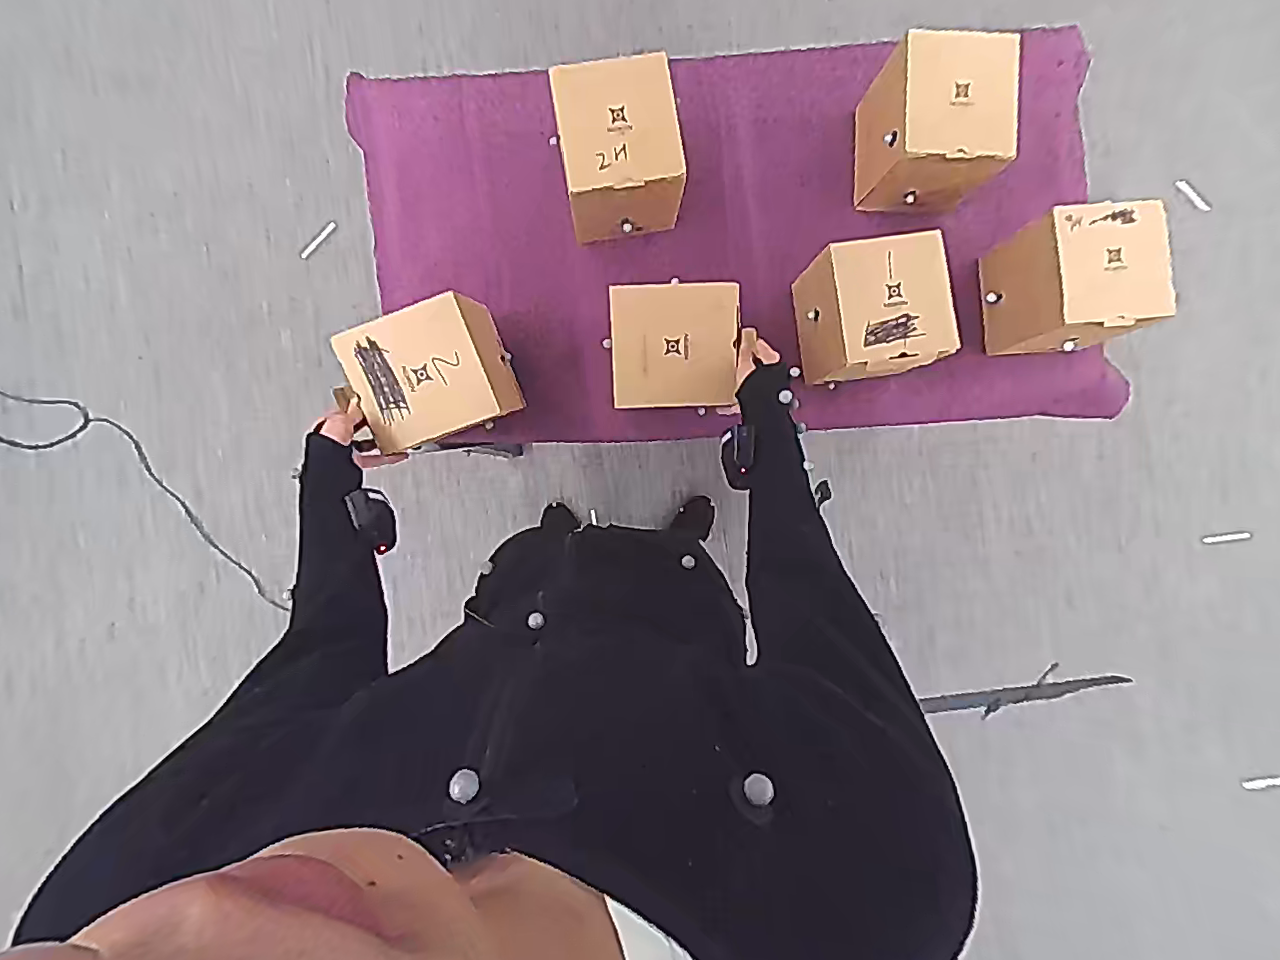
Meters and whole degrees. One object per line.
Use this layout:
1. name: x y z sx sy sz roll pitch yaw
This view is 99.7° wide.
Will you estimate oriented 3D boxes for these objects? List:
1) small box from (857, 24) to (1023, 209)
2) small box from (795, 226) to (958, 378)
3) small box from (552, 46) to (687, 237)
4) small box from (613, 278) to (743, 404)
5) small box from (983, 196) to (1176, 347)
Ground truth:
1. small box: 0.452 -0.551 0.838 0.168 0.176 0.179 0 92 -2
2. small box: 0.352 -0.260 0.833 0.168 0.176 0.179 -8 90 -2
3. small box: -0.032 -0.497 0.817 0.168 0.176 0.179 -10 91 -2
4. small box: 0.049 -0.199 0.805 0.179 0.176 0.168 -2 99 -1
5. small box: 0.671 -0.311 0.844 0.168 0.176 0.179 -4 89 -2
